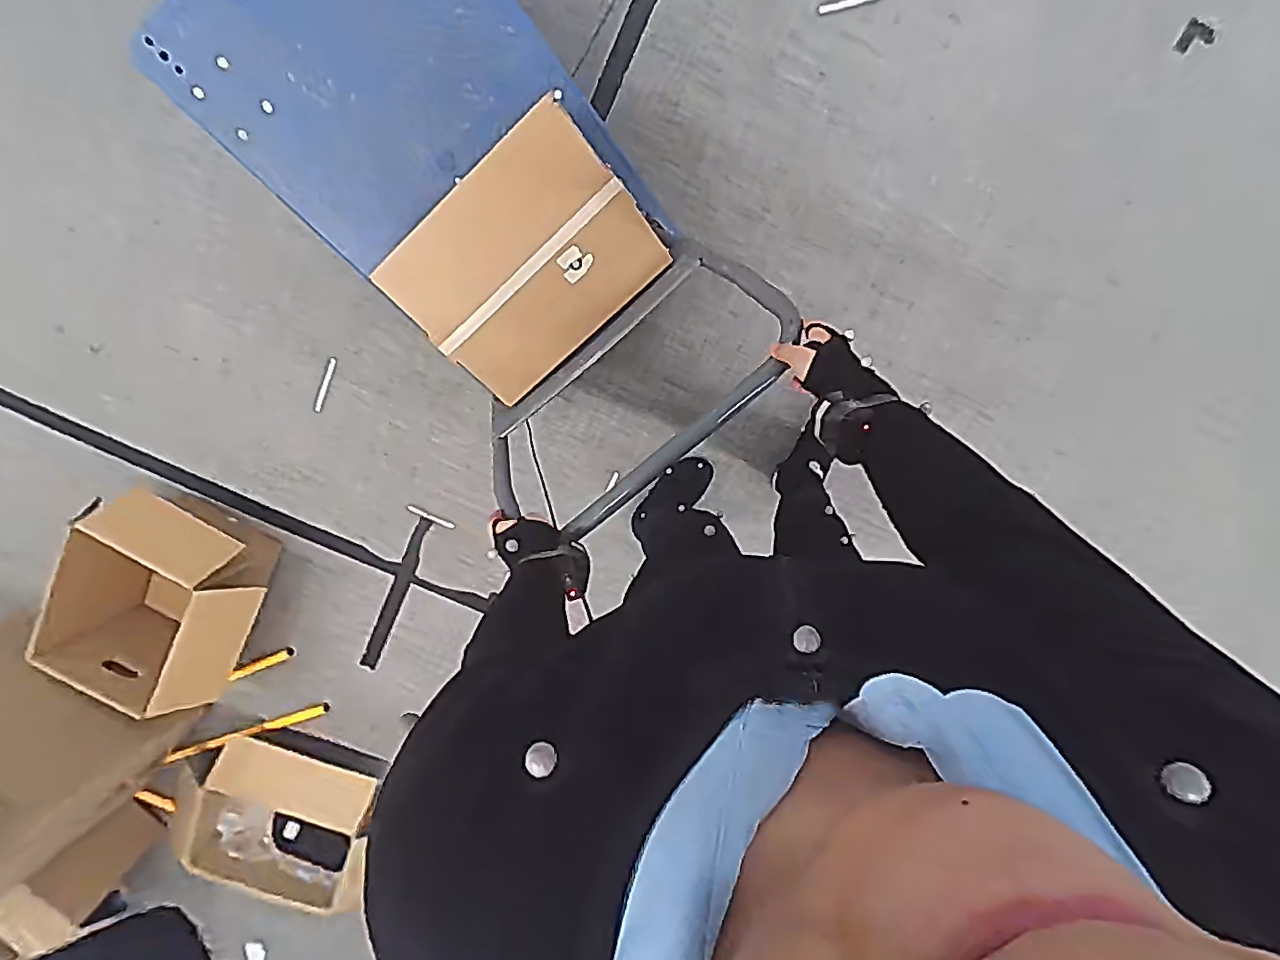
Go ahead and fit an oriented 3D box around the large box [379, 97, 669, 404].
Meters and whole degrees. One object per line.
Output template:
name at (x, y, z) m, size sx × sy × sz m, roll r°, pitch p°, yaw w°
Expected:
large box at (-0.219, -0.427, 1.046) m, size 0.408 × 0.320 × 0.320 m, roll -41°, pitch 120°, yaw 9°
